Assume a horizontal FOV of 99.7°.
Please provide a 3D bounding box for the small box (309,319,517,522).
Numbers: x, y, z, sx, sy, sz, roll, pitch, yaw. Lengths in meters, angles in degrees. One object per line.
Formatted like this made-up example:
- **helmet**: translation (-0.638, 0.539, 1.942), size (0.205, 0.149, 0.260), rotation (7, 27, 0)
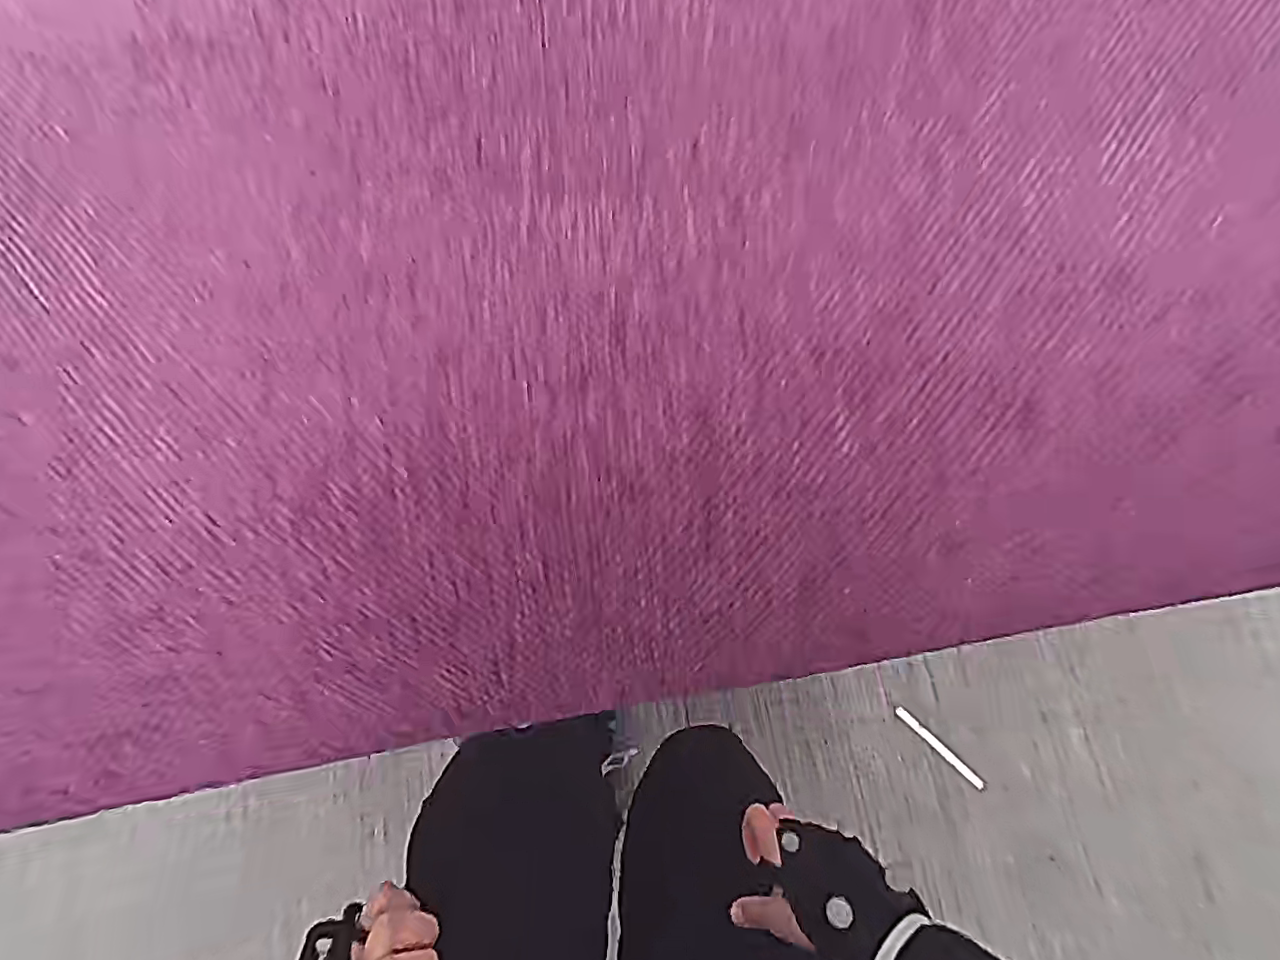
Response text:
- **small box**: translation (-0.258, -0.060, 0.644), size (0.168, 0.176, 0.179), rotation (-13, 78, 0)
